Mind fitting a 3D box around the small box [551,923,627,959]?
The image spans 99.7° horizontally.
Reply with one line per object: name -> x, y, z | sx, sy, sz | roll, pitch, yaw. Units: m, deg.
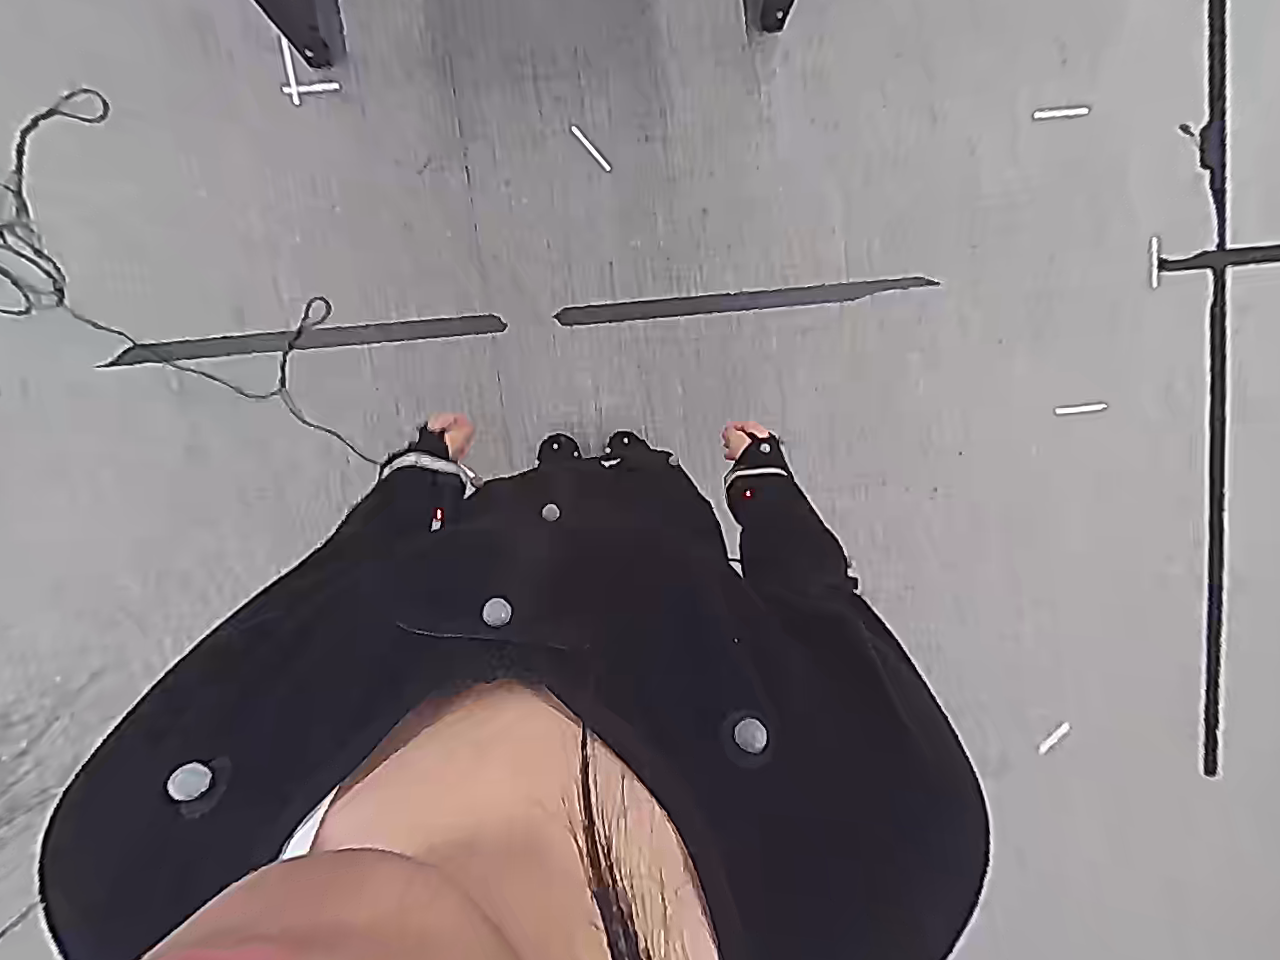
small box -> -0.113, 1.169, 1.243 | 0.179, 0.176, 0.168 | -8, 95, -2
